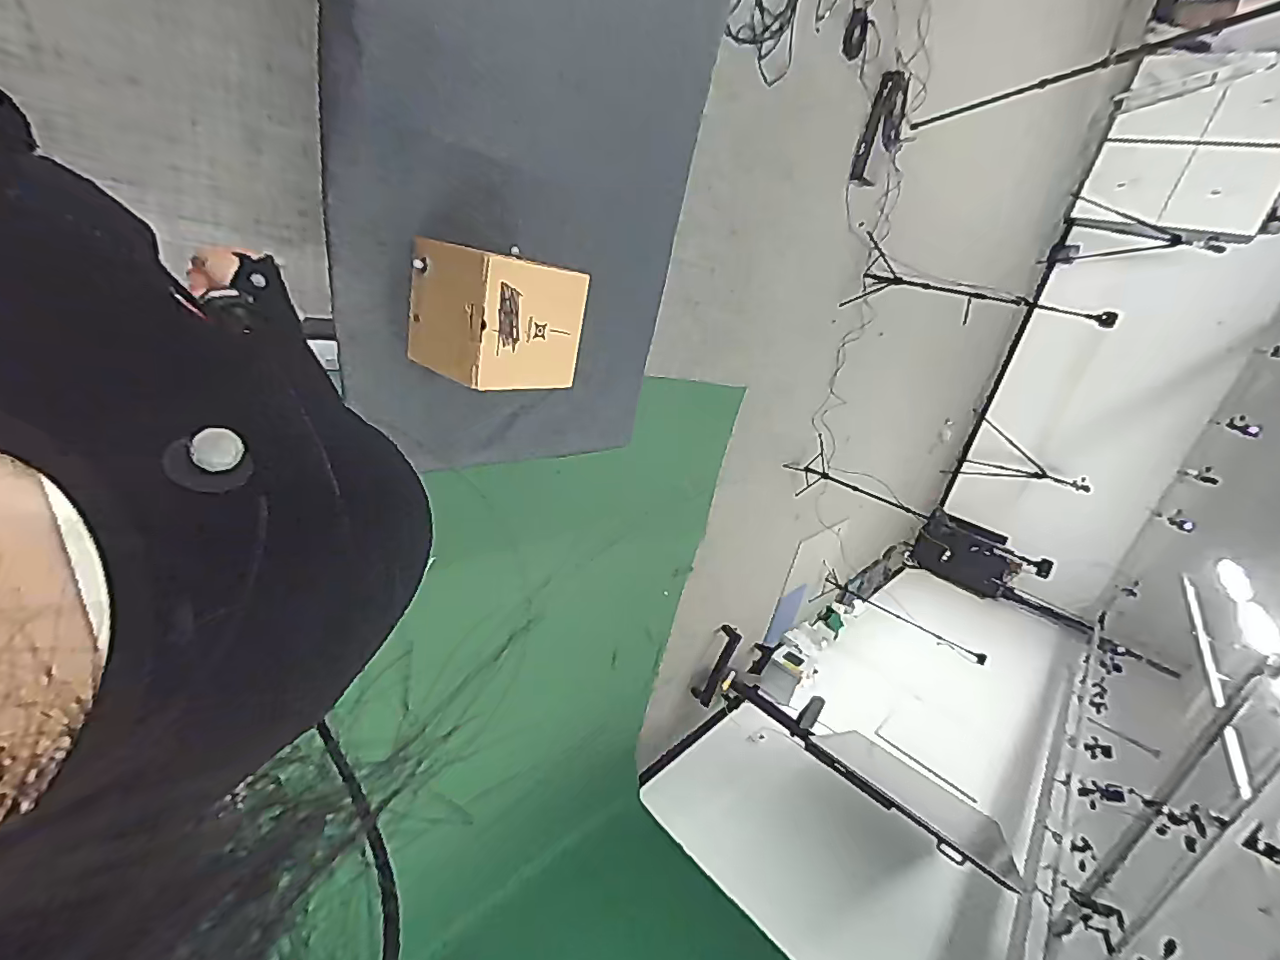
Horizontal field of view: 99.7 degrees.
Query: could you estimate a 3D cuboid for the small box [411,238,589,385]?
[{"bbox_3d":[-0.203,-0.237,0.769,0.179,0.176,0.168,-13,122,-50],"label":"small box"}]
